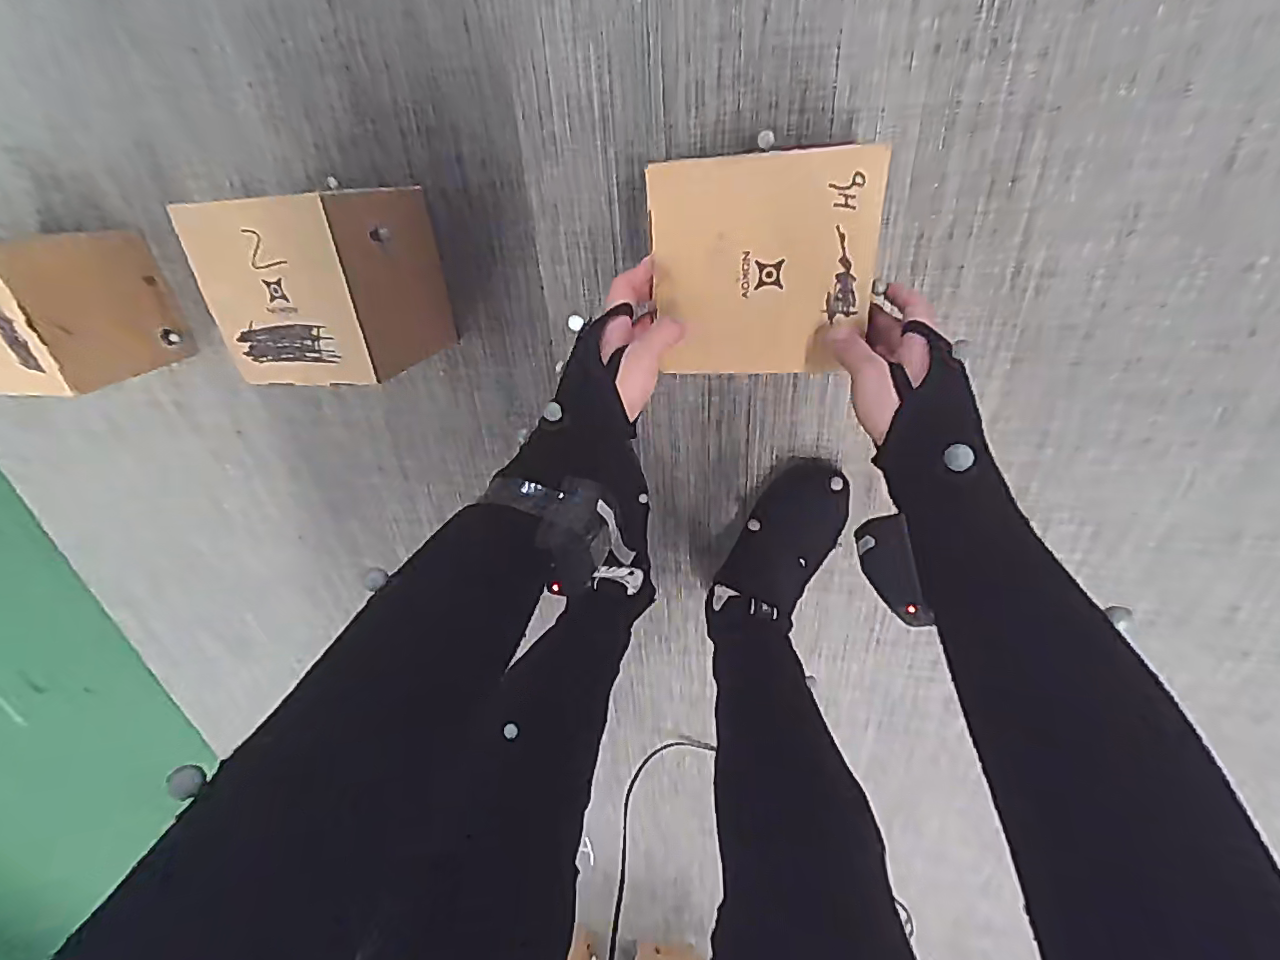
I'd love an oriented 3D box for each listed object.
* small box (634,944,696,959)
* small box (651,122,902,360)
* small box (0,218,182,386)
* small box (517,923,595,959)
[{"bbox_3d":[0.068,1.379,1.441,0.168,0.176,0.179,-6,119,15],"label":"small box"},{"bbox_3d":[0.115,-0.214,0.488,0.179,0.176,0.168,3,121,13],"label":"small box"},{"bbox_3d":[-0.723,-0.223,0.665,0.179,0.176,0.168,3,120,11],"label":"small box"},{"bbox_3d":[-0.243,1.376,1.507,0.179,0.176,0.168,-5,120,14],"label":"small box"}]
